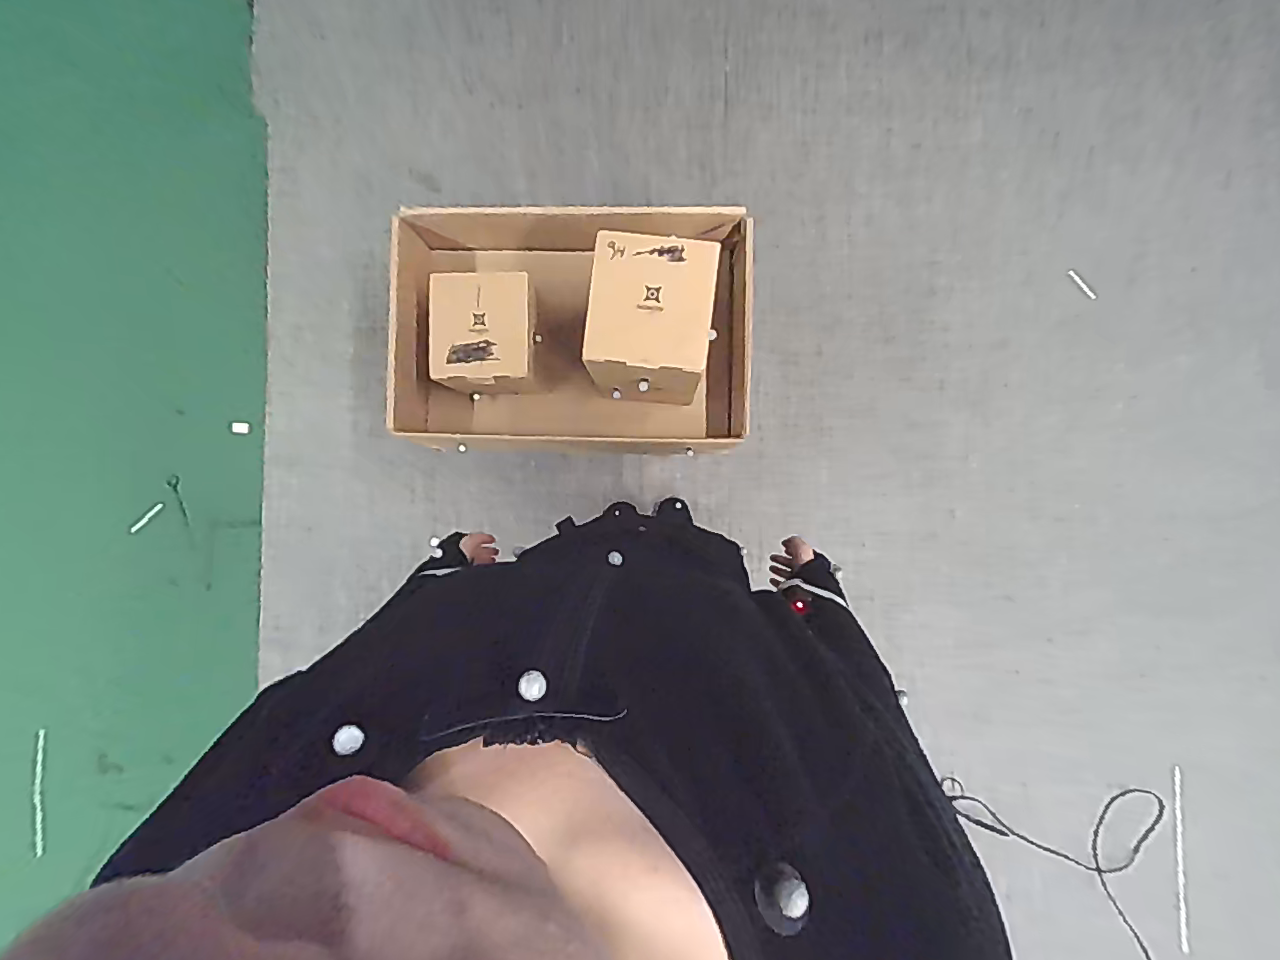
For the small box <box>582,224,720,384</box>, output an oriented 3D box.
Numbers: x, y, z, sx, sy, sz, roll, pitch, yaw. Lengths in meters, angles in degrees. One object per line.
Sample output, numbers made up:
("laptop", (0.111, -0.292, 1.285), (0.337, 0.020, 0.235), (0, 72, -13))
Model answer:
("small box", (0.018, -0.243, 0.789), (0.168, 0.176, 0.179), (7, 91, 2))
